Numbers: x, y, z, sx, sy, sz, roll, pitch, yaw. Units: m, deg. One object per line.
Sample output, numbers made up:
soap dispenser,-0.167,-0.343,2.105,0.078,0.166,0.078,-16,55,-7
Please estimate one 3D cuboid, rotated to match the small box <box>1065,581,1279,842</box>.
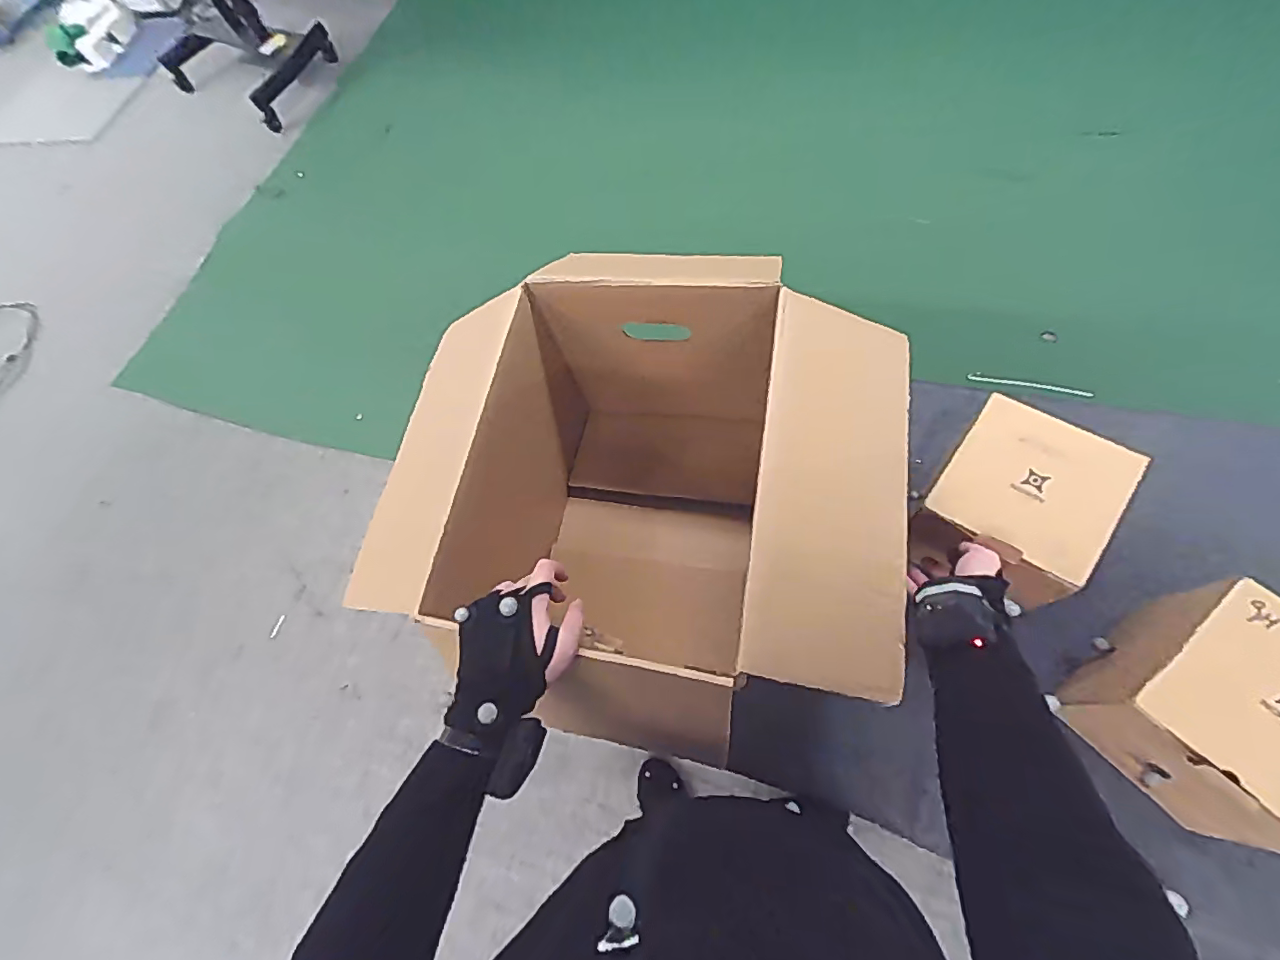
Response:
small box,0.587,0.235,0.550,0.179,0.176,0.168,-41,65,-6
